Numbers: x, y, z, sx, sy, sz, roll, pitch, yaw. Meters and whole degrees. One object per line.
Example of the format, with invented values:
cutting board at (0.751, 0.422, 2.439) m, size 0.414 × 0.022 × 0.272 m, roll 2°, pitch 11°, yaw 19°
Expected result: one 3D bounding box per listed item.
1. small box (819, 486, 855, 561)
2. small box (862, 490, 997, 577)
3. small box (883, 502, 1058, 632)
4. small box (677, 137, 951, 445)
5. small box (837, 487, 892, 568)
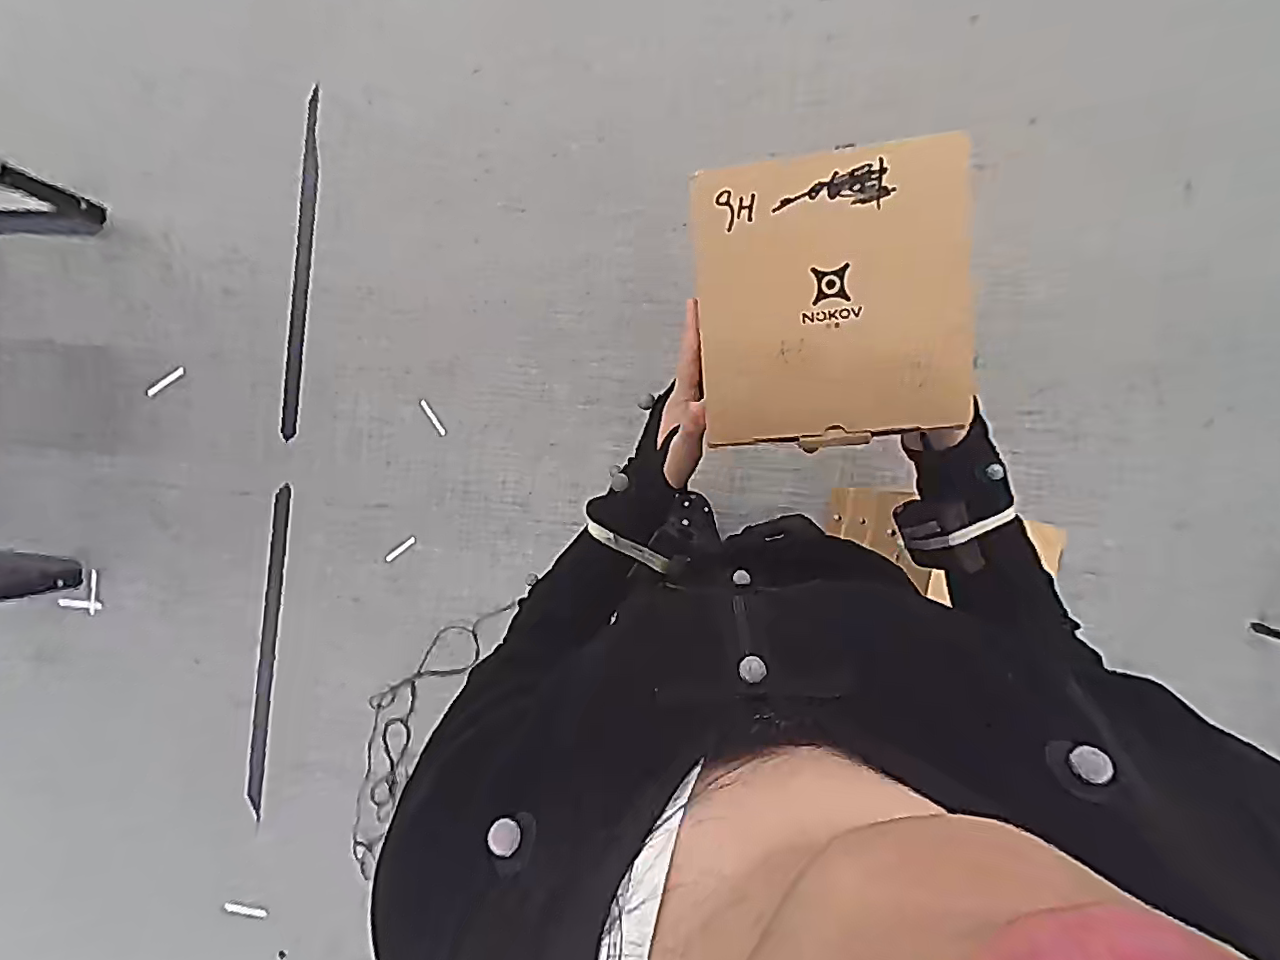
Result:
small box at (0.571, 0.118, 1.389) m, size 0.168 × 0.176 × 0.179 m, roll 12°, pitch 91°, yaw 5°
small box at (0.556, 0.121, 1.062) m, size 0.168 × 0.176 × 0.179 m, roll 13°, pitch 92°, yaw 6°
small box at (0.534, 0.132, 0.899) m, size 0.179 × 0.176 × 0.168 m, roll 13°, pitch 90°, yaw 6°
small box at (0.121, -0.127, 0.423) m, size 0.168 × 0.176 × 0.179 m, roll -5°, pitch 98°, yaw 7°
small box at (0.564, 0.119, 1.224) m, size 0.168 × 0.176 × 0.179 m, roll 16°, pitch 92°, yaw 6°
